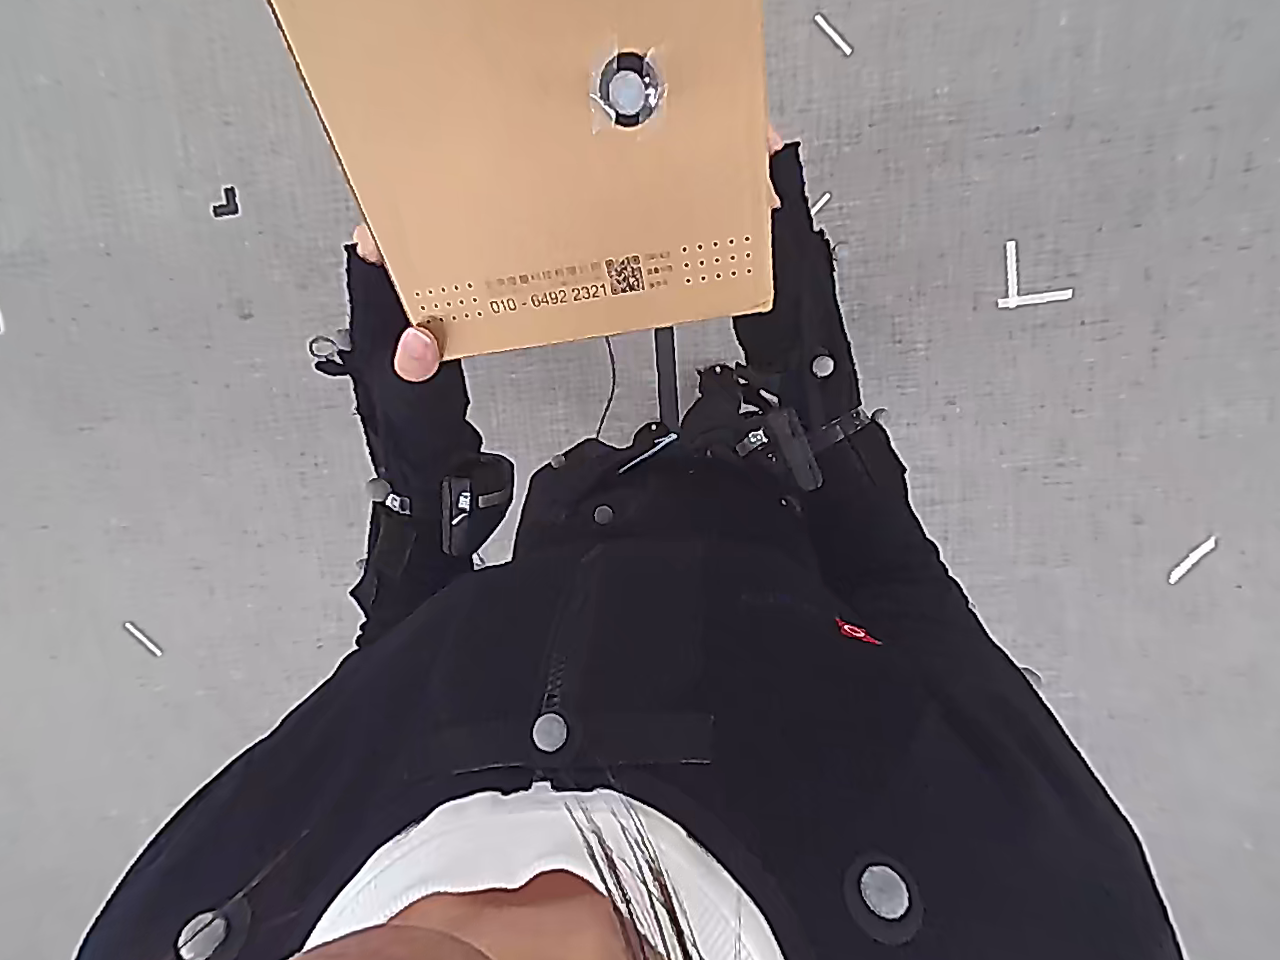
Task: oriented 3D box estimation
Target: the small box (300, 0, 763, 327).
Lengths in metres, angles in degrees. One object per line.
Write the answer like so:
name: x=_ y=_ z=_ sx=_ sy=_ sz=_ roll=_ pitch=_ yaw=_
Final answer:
small box: x=-0.027 y=-0.190 z=0.286 sx=0.168 sy=0.179 sz=0.176 roll=-5 pitch=126 yaw=10
